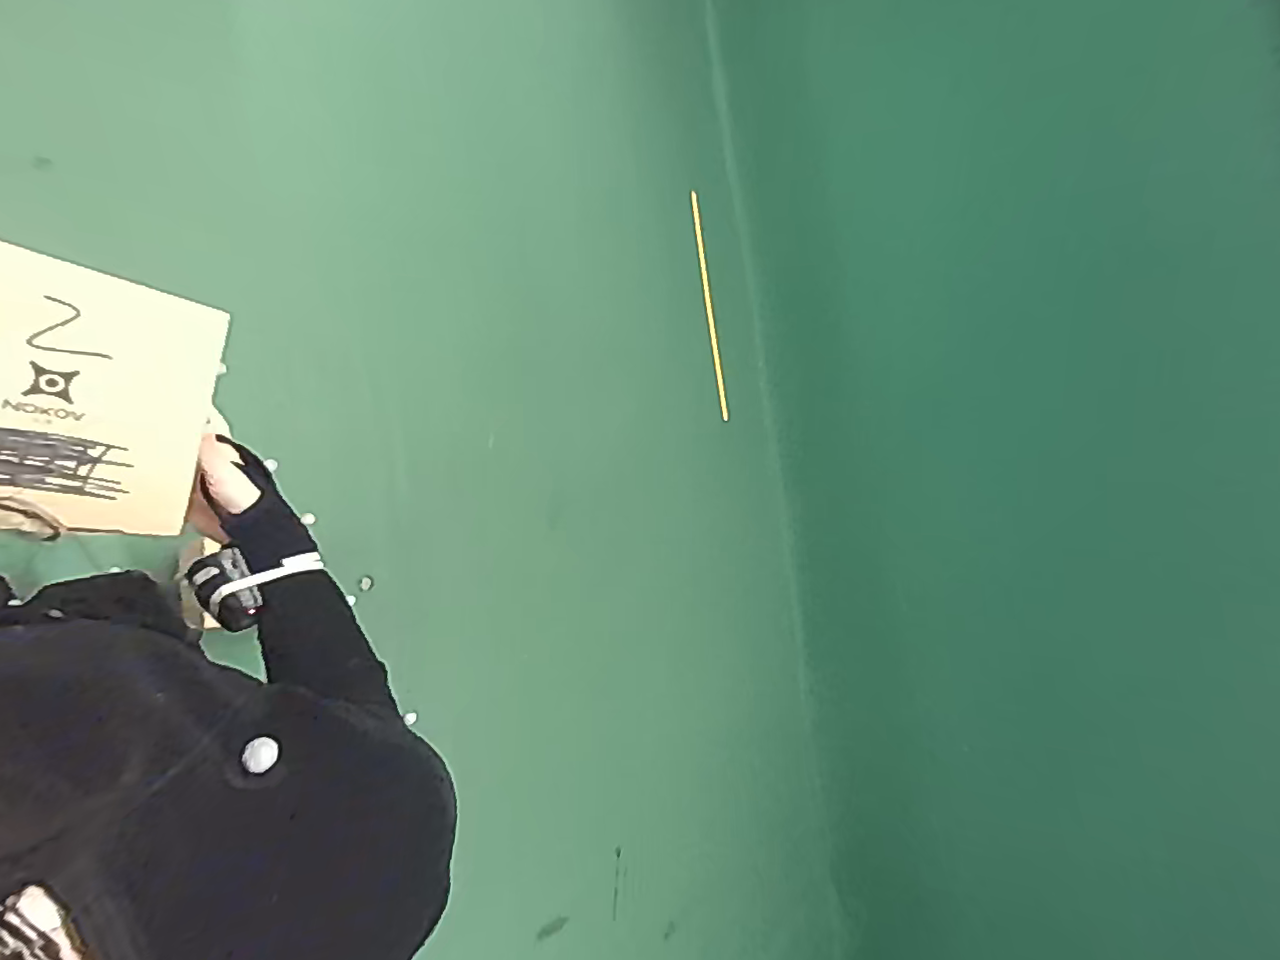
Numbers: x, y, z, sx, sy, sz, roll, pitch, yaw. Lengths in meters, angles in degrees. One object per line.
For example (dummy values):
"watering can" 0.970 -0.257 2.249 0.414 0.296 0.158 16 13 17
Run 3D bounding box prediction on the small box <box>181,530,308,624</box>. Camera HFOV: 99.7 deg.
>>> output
"small box" -0.787 0.187 1.078 0.179 0.176 0.168 2 80 -47

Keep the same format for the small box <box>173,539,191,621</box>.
"small box" -0.907 0.211 1.190 0.179 0.176 0.168 -1 83 -48
